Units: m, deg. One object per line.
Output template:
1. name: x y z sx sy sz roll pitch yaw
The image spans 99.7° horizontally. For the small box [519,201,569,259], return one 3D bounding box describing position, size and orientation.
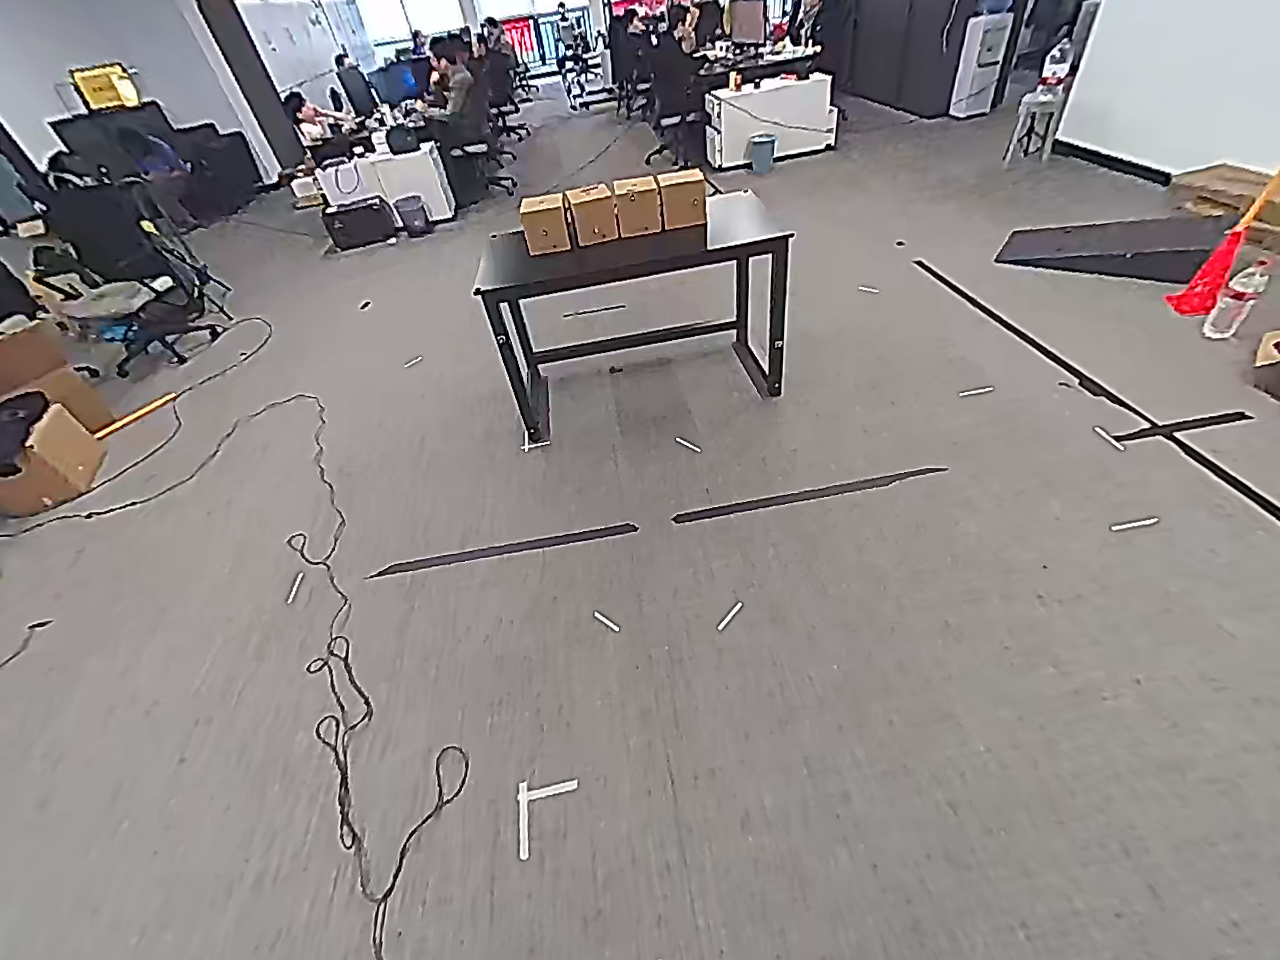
1. small box: -0.386 -1.014 2.205 0.168 0.176 0.179 -9 42 1
